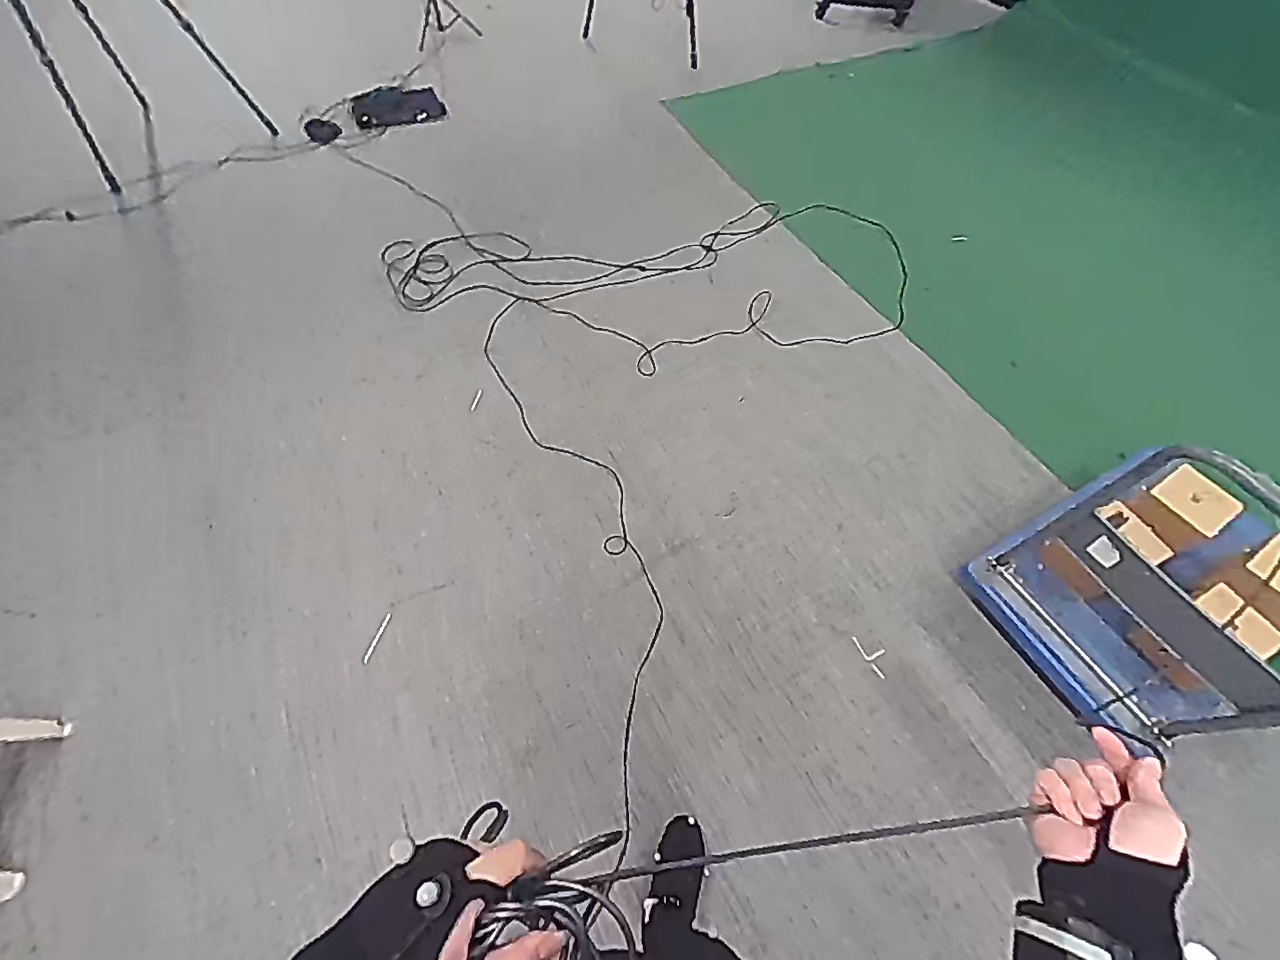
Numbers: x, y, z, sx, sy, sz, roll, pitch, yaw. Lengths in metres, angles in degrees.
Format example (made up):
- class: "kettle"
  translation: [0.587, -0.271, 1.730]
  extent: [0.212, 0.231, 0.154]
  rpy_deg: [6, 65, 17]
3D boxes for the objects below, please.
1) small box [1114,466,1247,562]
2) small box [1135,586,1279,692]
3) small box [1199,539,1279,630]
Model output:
- class: "small box"
  translation: [1.473, 0.098, 1.491]
  extent: [0.179, 0.176, 0.168]
  rpy_deg: [-29, 63, -17]
- class: "small box"
  translation: [1.376, 0.389, 1.310]
  extent: [0.179, 0.176, 0.168]
  rpy_deg: [-25, 61, -14]
- class: "small box"
  translation: [1.612, 0.276, 1.379]
  extent: [0.179, 0.176, 0.168]
  rpy_deg: [-29, 62, -16]
